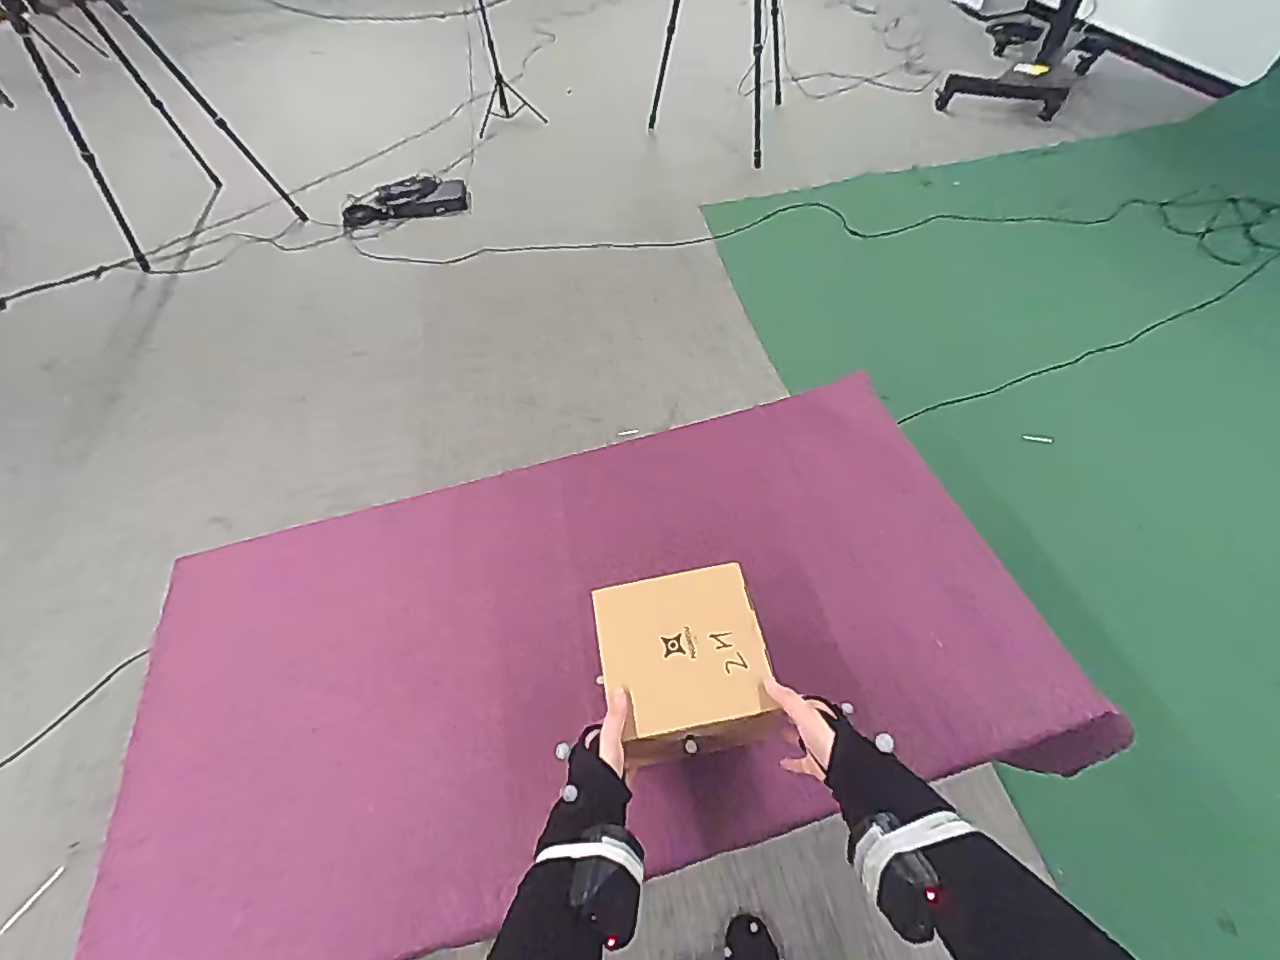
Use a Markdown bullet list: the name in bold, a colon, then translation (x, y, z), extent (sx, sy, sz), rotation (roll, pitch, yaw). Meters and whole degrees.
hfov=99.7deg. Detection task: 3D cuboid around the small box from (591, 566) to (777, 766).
- **small box**: translation (0.049, 0.226, 0.643), extent (0.179, 0.176, 0.168), rotation (-12, 55, -1)
